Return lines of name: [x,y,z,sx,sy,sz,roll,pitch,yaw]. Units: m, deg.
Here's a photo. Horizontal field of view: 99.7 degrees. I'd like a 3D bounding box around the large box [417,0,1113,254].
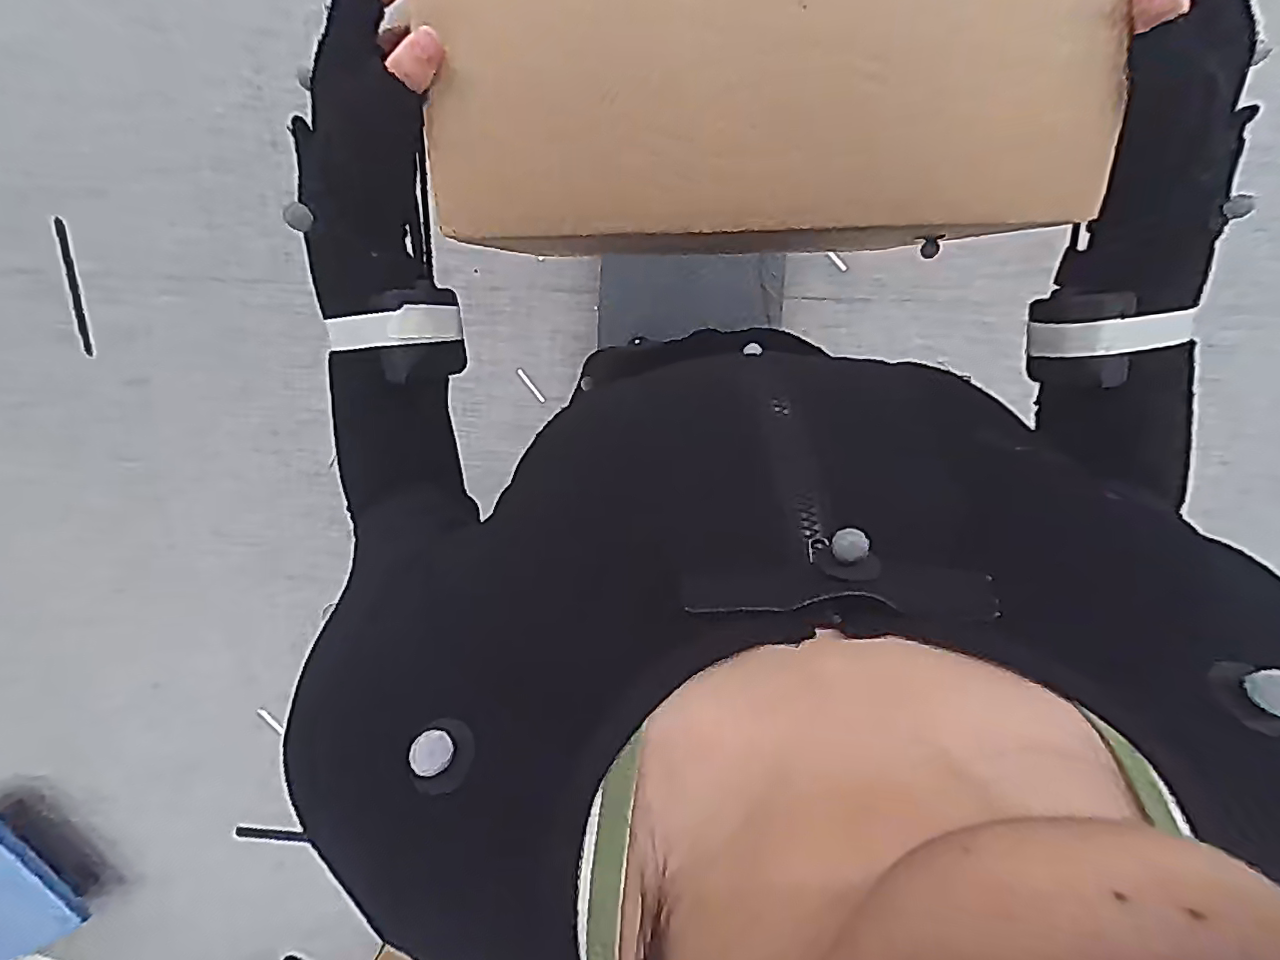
large box: [0.071,-0.356,0.433,0.408,0.320,0.320,-1,110,0]
